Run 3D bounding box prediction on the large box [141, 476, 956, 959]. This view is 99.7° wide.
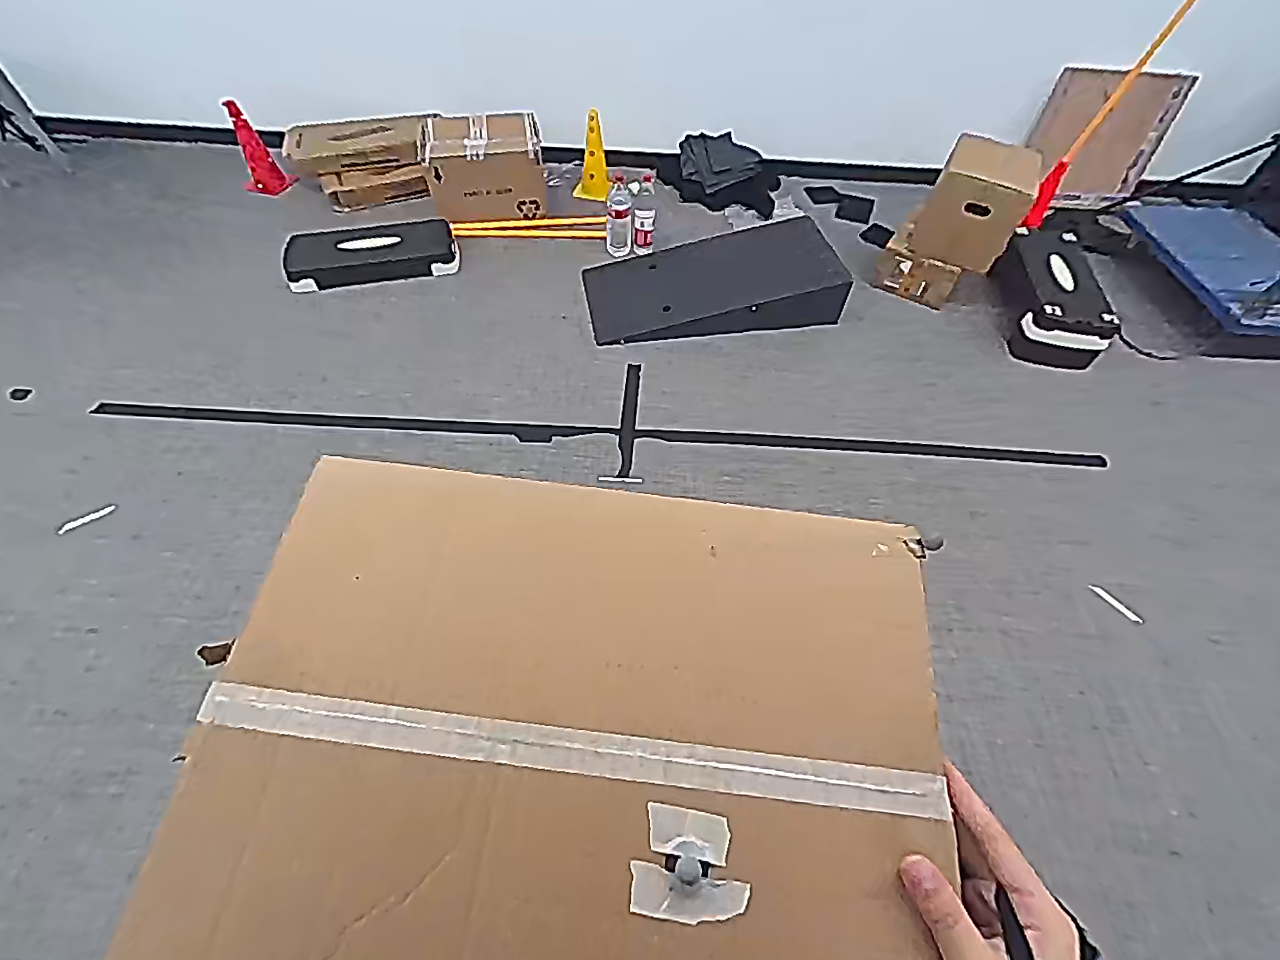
[{"bbox_3d":[-0.037,0.217,0.439,0.408,0.320,0.320,7,65,1],"label":"large box"}]
